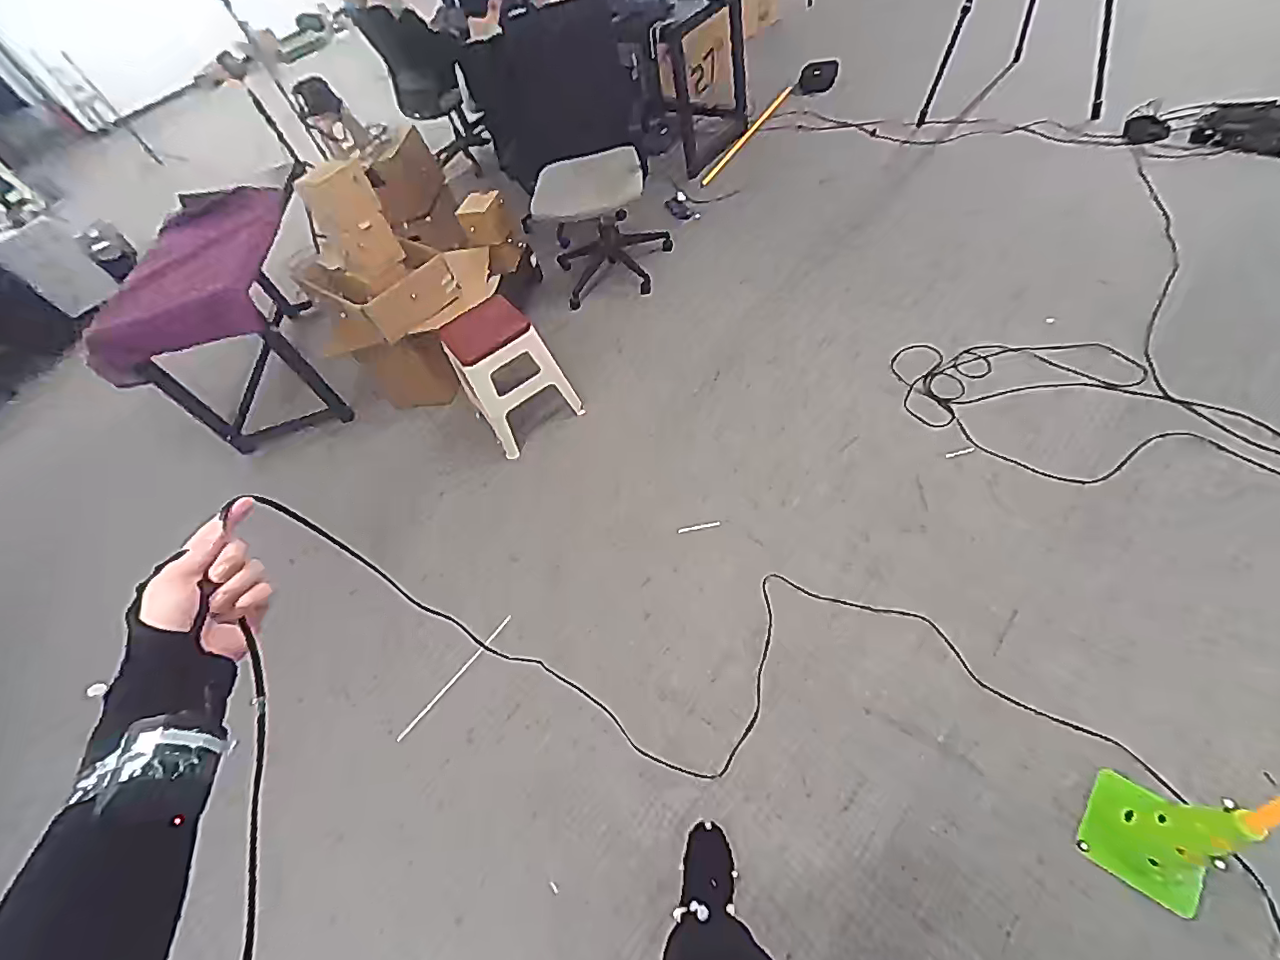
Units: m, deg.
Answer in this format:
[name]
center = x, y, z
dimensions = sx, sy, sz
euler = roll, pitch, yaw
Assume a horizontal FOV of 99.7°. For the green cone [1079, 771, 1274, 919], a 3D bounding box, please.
[green cone]
center = 1.017, 0.649, 0.992
dimensions = 0.200, 0.368, 0.202
euler = 26, 64, 30
